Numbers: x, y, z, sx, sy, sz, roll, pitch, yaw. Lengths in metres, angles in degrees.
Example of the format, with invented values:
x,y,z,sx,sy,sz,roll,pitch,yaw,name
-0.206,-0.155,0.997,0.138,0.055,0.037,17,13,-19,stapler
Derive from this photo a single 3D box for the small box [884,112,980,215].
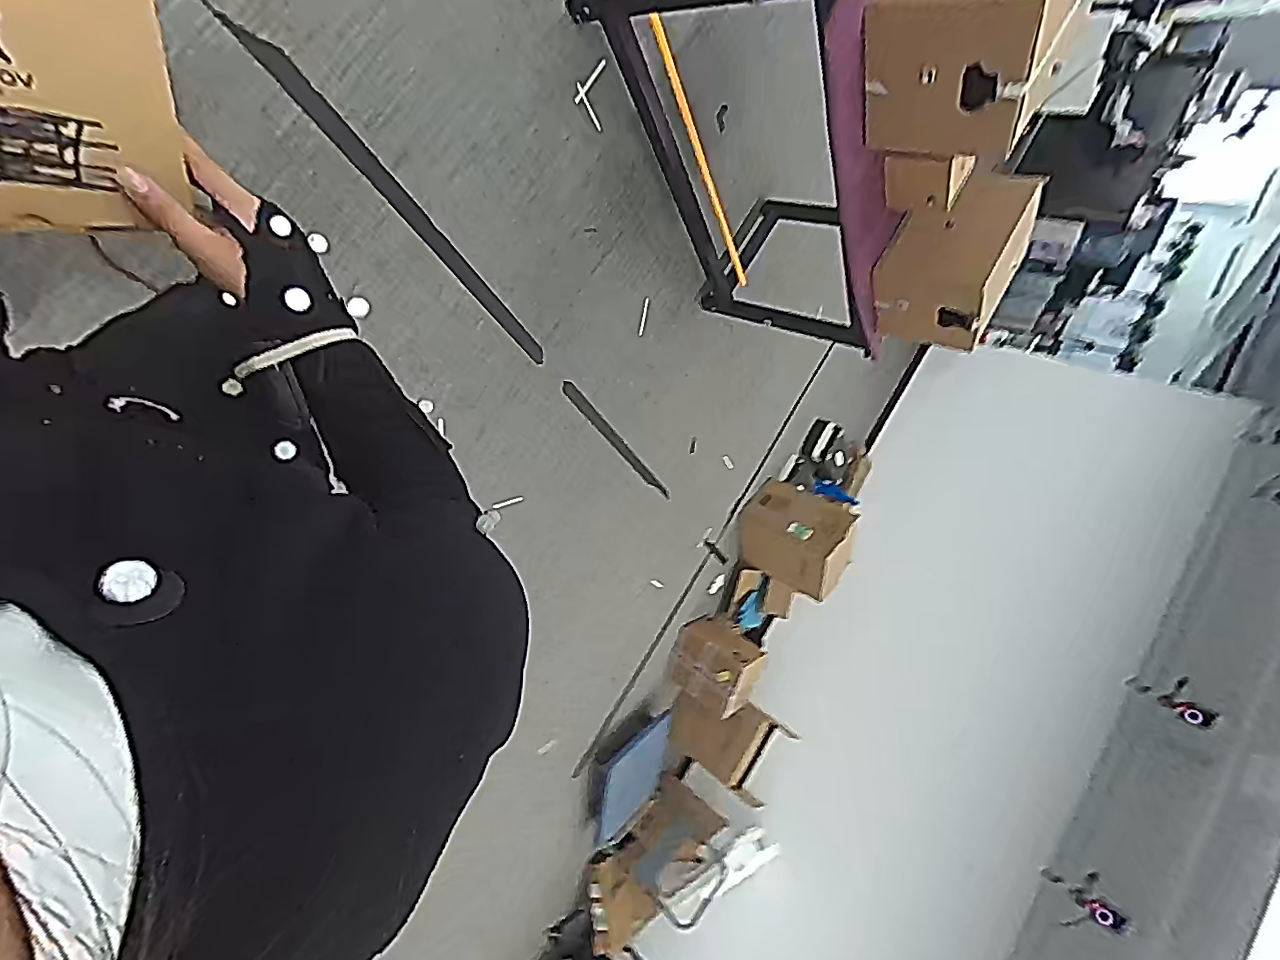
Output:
x,y,z,sx,sy,sz,roll,pitch,yaw,name
0.761,-0.838,1.426,0.168,0.176,0.179,-59,147,-8,small box

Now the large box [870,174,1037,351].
x,y,z,sx,sy,sz,roll,pitch,yaw,name
0.964,-0.683,1.695,0.408,0.320,0.320,-59,148,-9,large box
